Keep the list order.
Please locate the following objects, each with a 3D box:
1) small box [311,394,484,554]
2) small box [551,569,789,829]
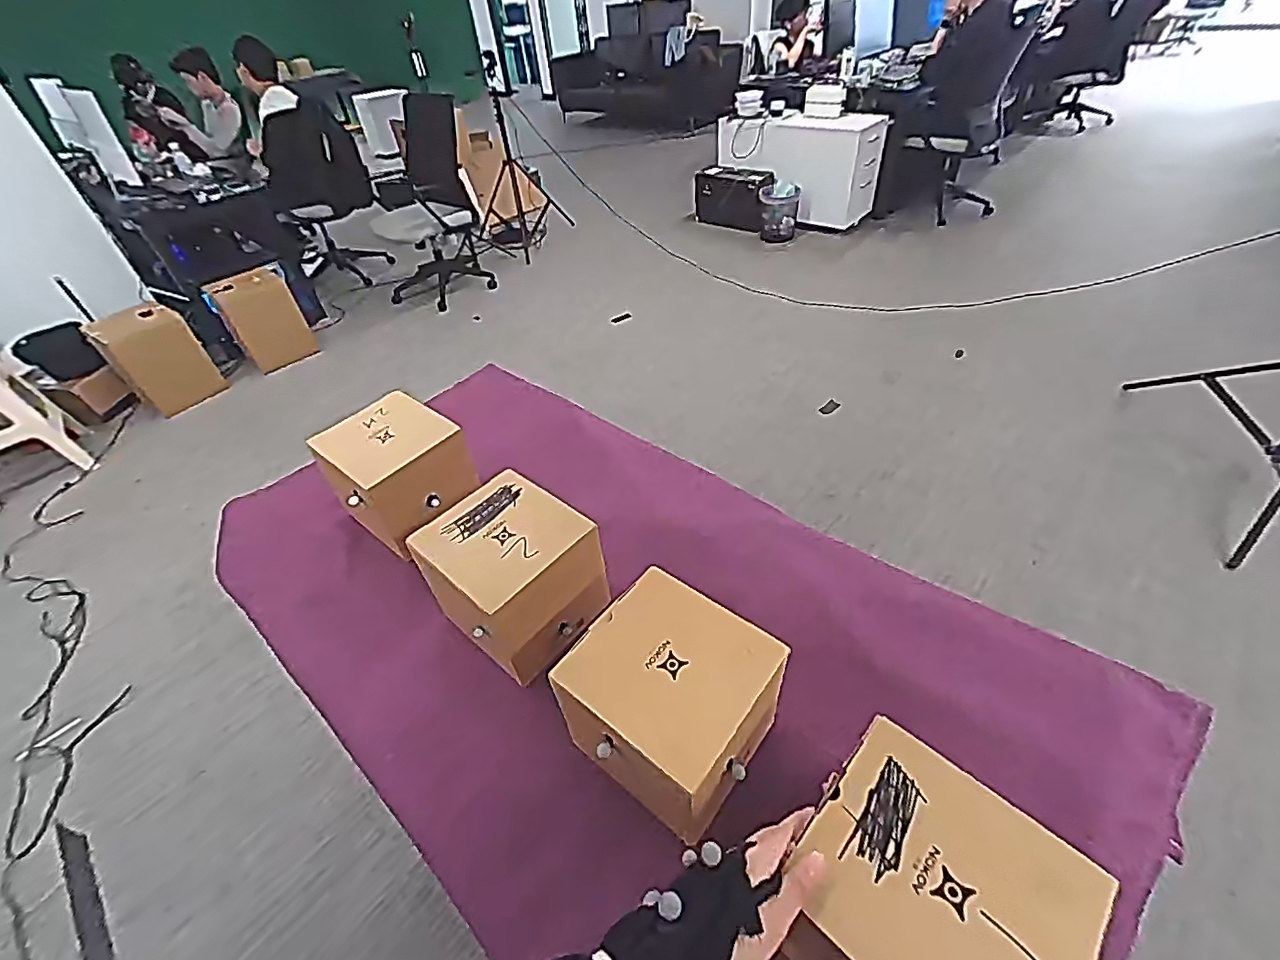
[{"bbox_3d":[-0.383,-0.006,0.881,0.179,0.176,0.168,28,52,28],"label":"small box"},{"bbox_3d":[0.036,0.236,0.580,0.179,0.176,0.168,26,52,31],"label":"small box"}]
